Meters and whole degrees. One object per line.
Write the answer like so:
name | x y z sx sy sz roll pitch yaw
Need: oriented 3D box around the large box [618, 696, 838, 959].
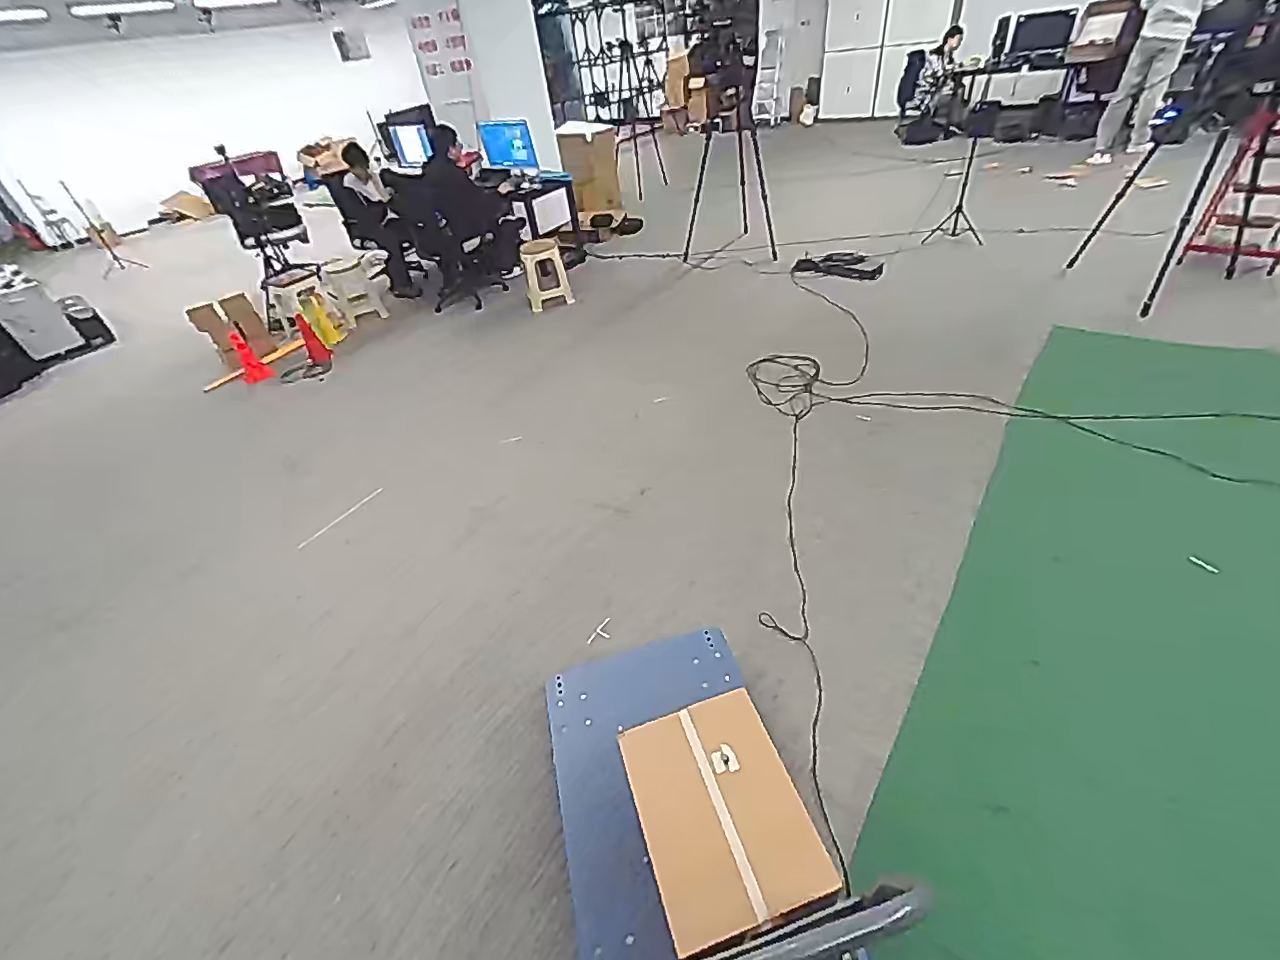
large box | 0.173 0.774 1.182 0.320 0.320 0.408 -16 39 -9
